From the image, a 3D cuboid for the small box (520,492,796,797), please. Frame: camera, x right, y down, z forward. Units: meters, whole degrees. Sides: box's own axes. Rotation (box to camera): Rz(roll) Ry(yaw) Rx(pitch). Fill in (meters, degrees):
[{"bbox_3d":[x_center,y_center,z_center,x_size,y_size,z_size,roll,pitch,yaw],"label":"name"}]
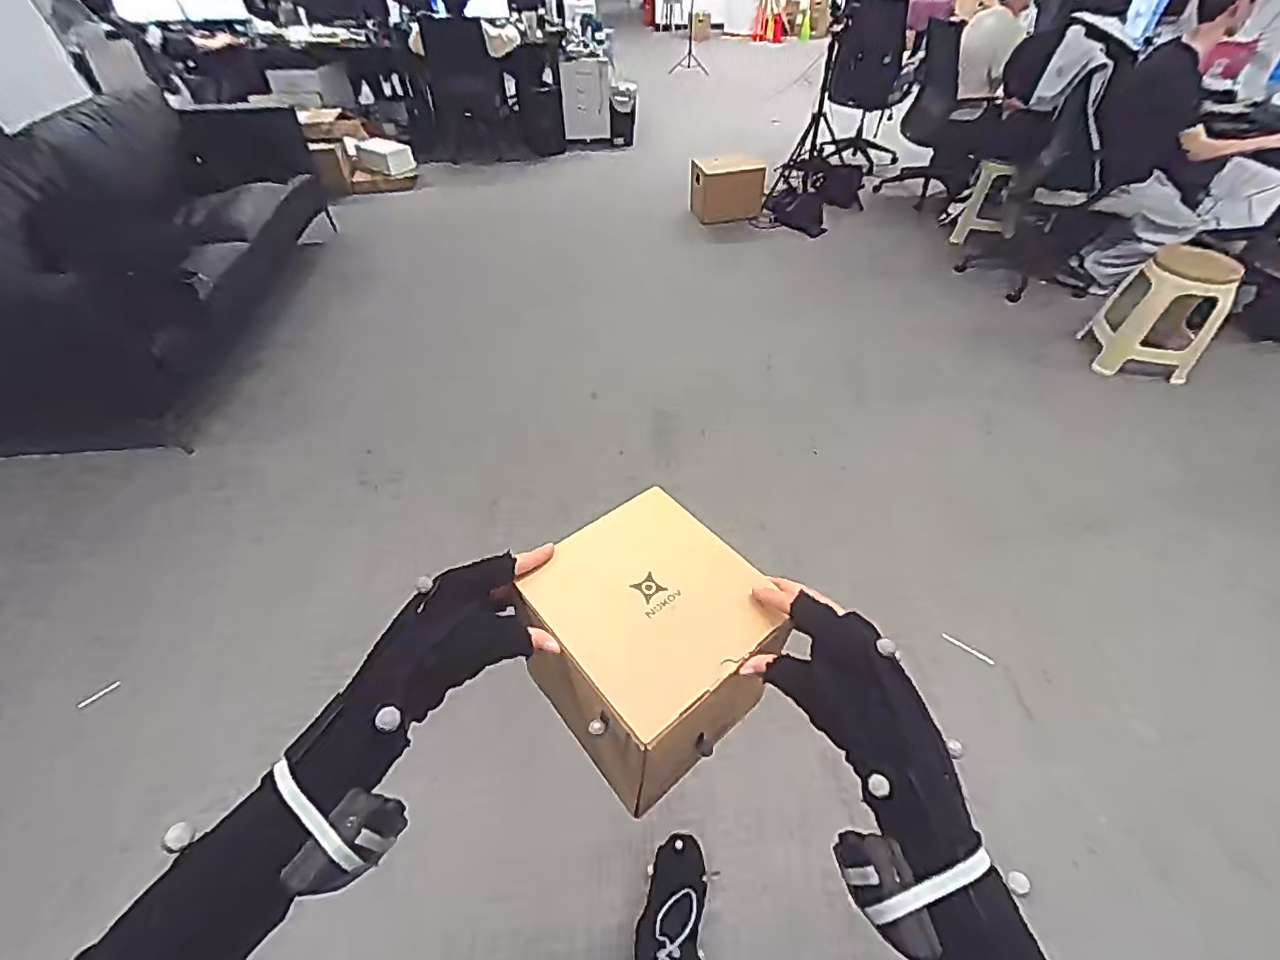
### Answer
[{"bbox_3d":[0.007,0.149,0.502,0.168,0.176,0.179,-29,54,-30],"label":"small box"}]
